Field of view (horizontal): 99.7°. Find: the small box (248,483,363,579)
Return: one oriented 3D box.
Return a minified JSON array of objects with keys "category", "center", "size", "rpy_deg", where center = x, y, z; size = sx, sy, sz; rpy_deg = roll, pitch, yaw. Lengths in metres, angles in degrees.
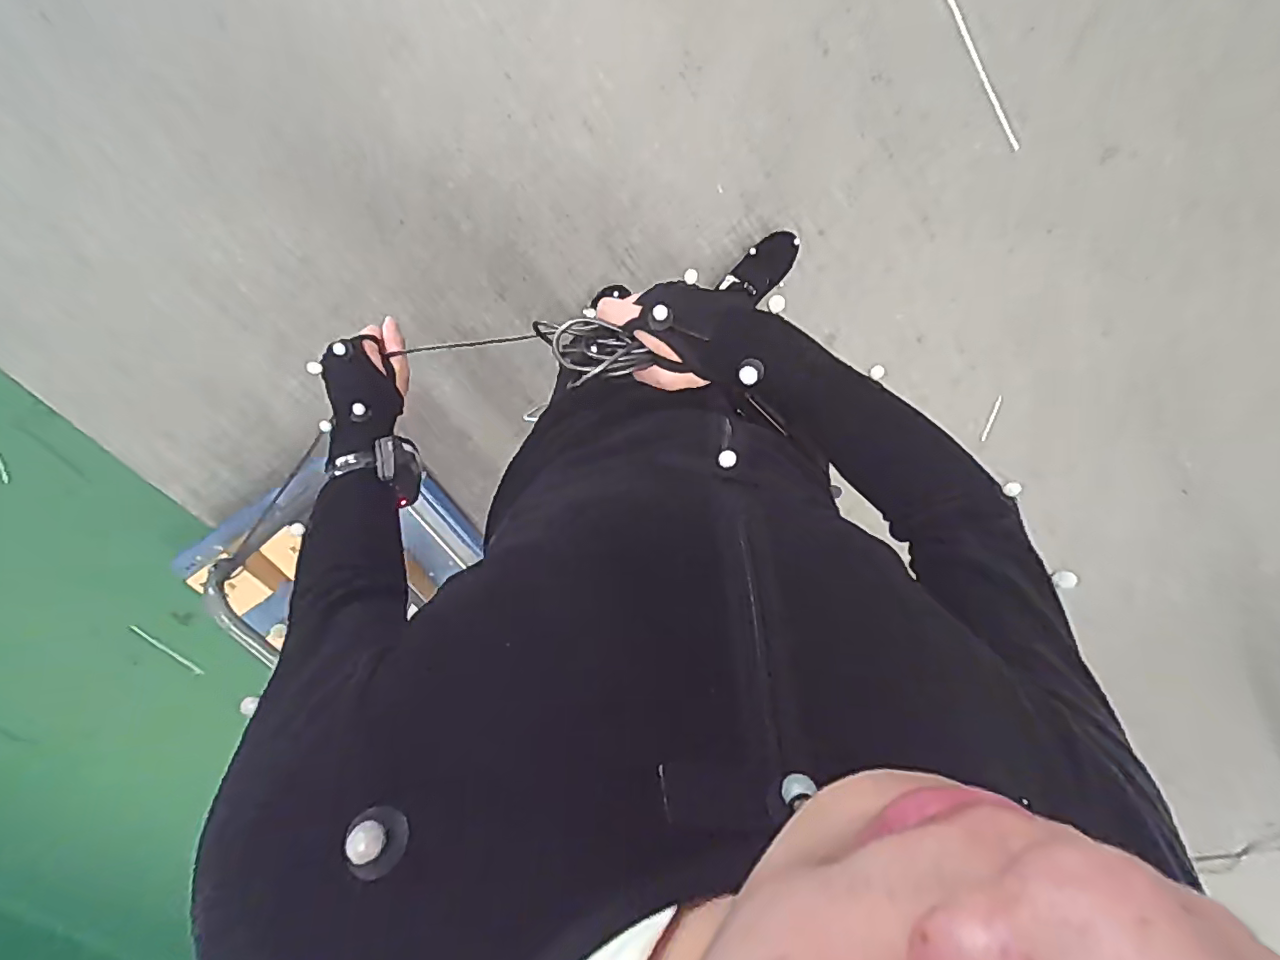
[{"category":"small box","center":[-0.920,0.137,1.505],"size":[0.179,0.176,0.168],"rpy_deg":[-27,114,13]}]

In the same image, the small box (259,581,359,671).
[{"category":"small box","center":[-1.003,0.443,1.661],"size":[0.179,0.176,0.168],"rpy_deg":[-32,112,15]}]

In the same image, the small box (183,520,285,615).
[{"category":"small box","center":[-1.142,0.250,1.563],"size":[0.179,0.176,0.168],"rpy_deg":[-30,113,14]}]
